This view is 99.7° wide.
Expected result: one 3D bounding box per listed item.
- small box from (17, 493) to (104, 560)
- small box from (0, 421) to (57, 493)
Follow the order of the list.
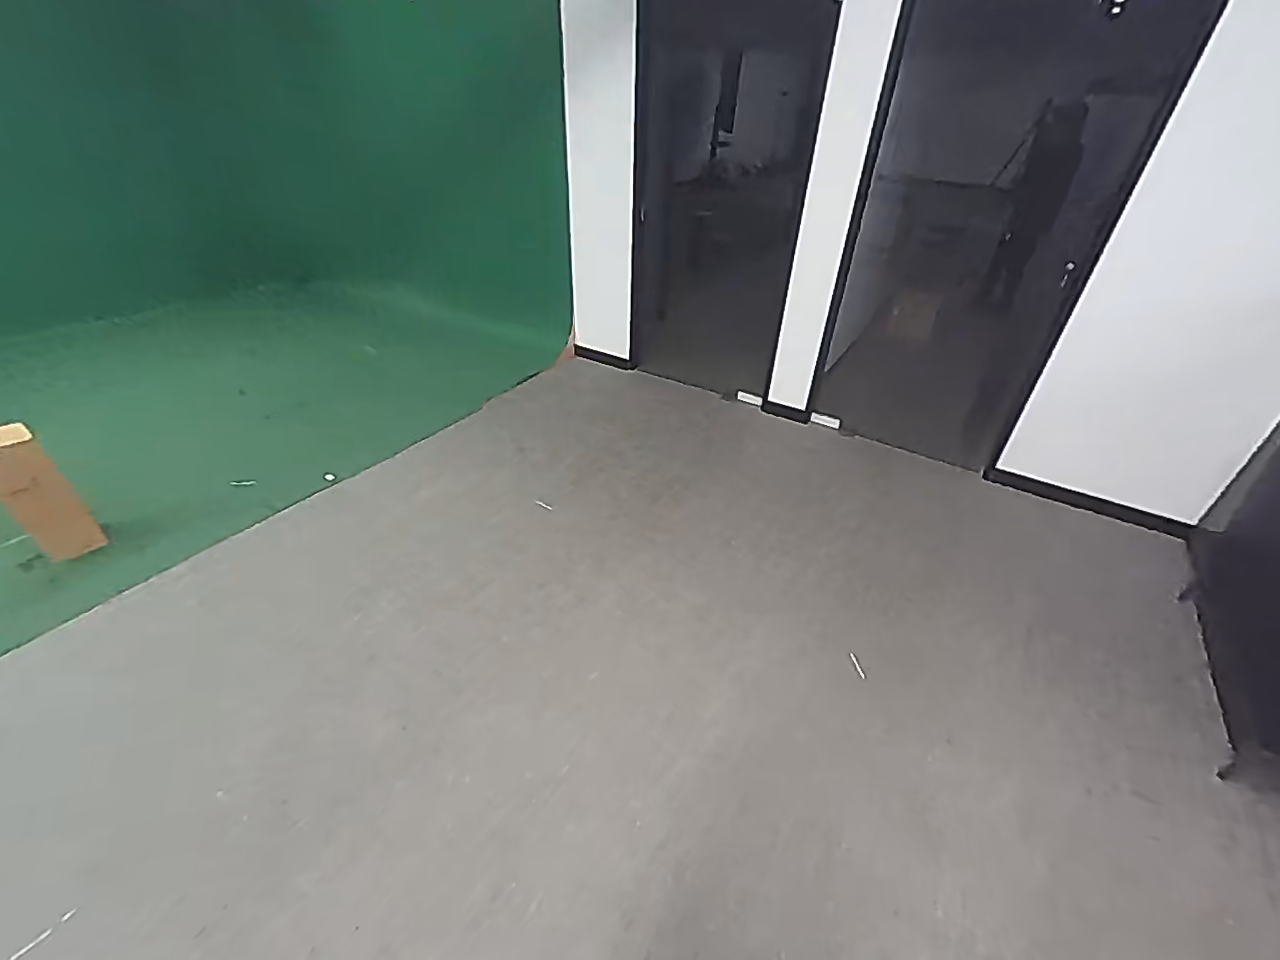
[{"bbox_3d":[-2.210,0.183,2.068,0.179,0.176,0.168,28,42,31],"label":"small box"},{"bbox_3d":[-2.190,-0.078,1.869,0.179,0.176,0.168,24,40,28],"label":"small box"}]
